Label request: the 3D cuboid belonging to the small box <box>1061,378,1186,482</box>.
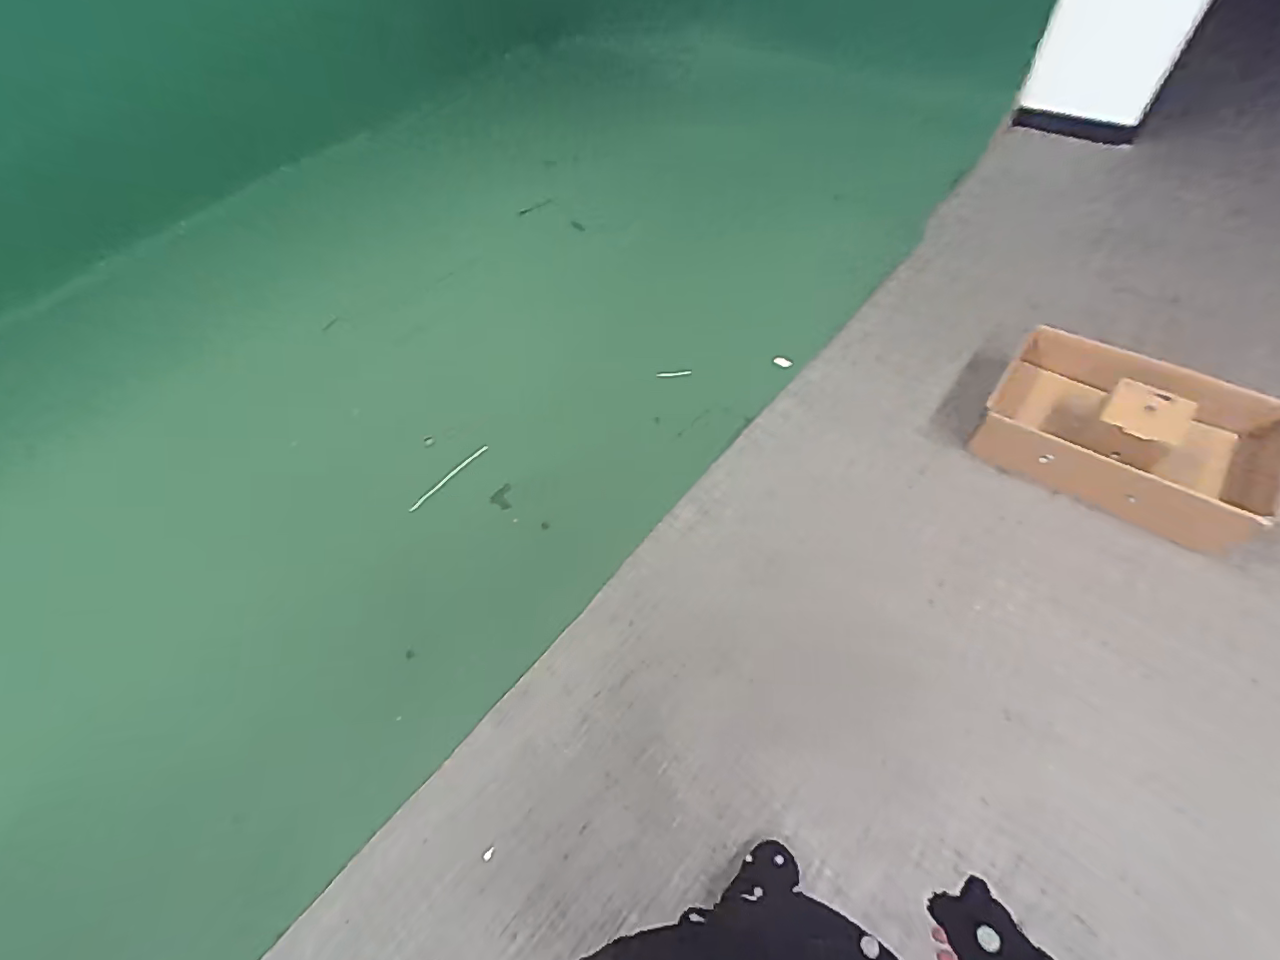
[{"bbox_3d":[1.256,-0.127,1.419,0.168,0.176,0.179,33,67,26],"label":"small box"}]
